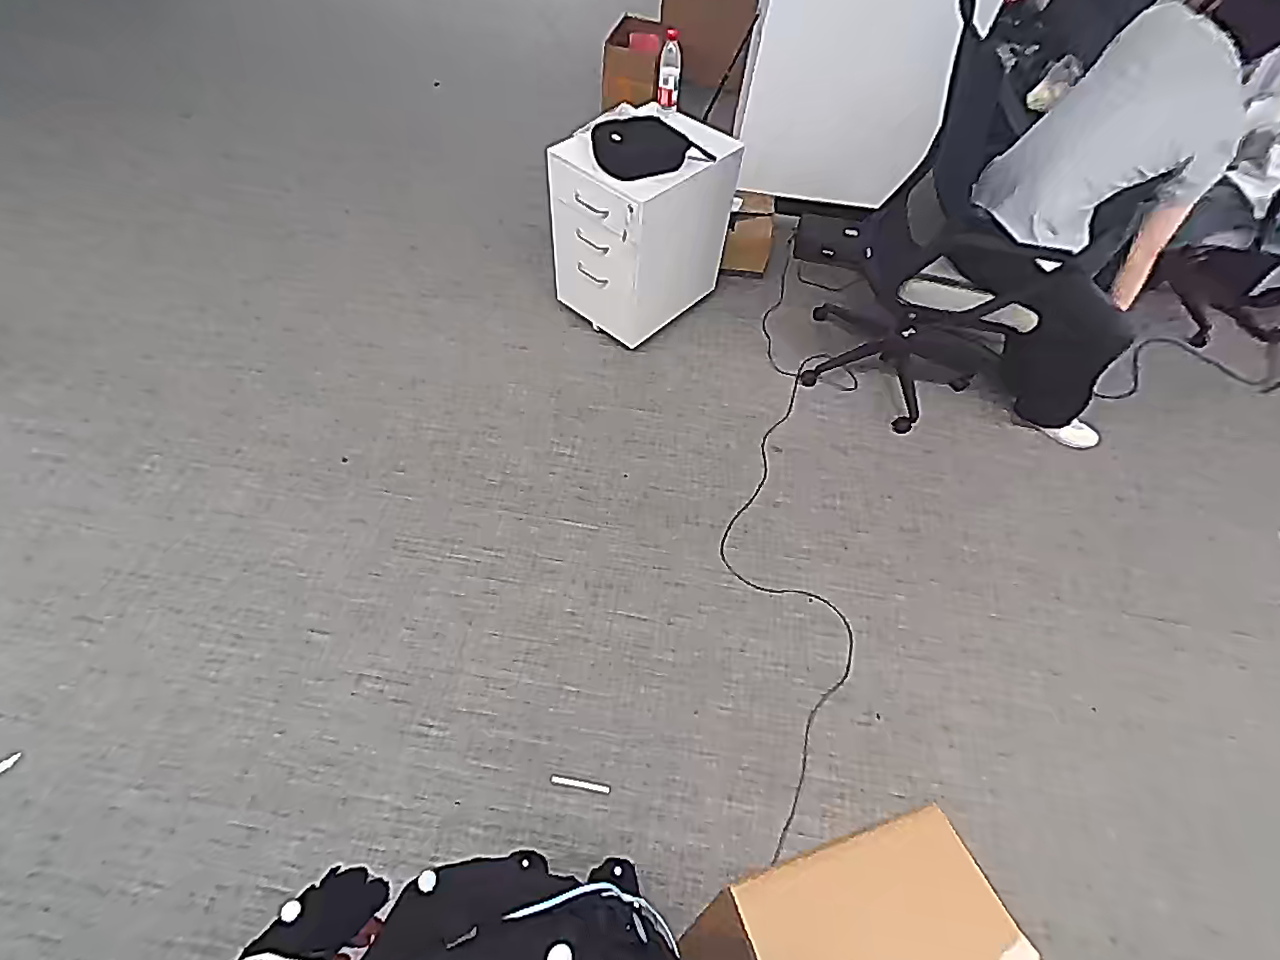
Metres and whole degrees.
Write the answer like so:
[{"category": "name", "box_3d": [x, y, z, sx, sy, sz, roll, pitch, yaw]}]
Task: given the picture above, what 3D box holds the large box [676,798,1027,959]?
[{"category": "large box", "box_3d": [0.268, 0.690, 0.706, 0.320, 0.408, 0.320, -9, 44, -17]}]
